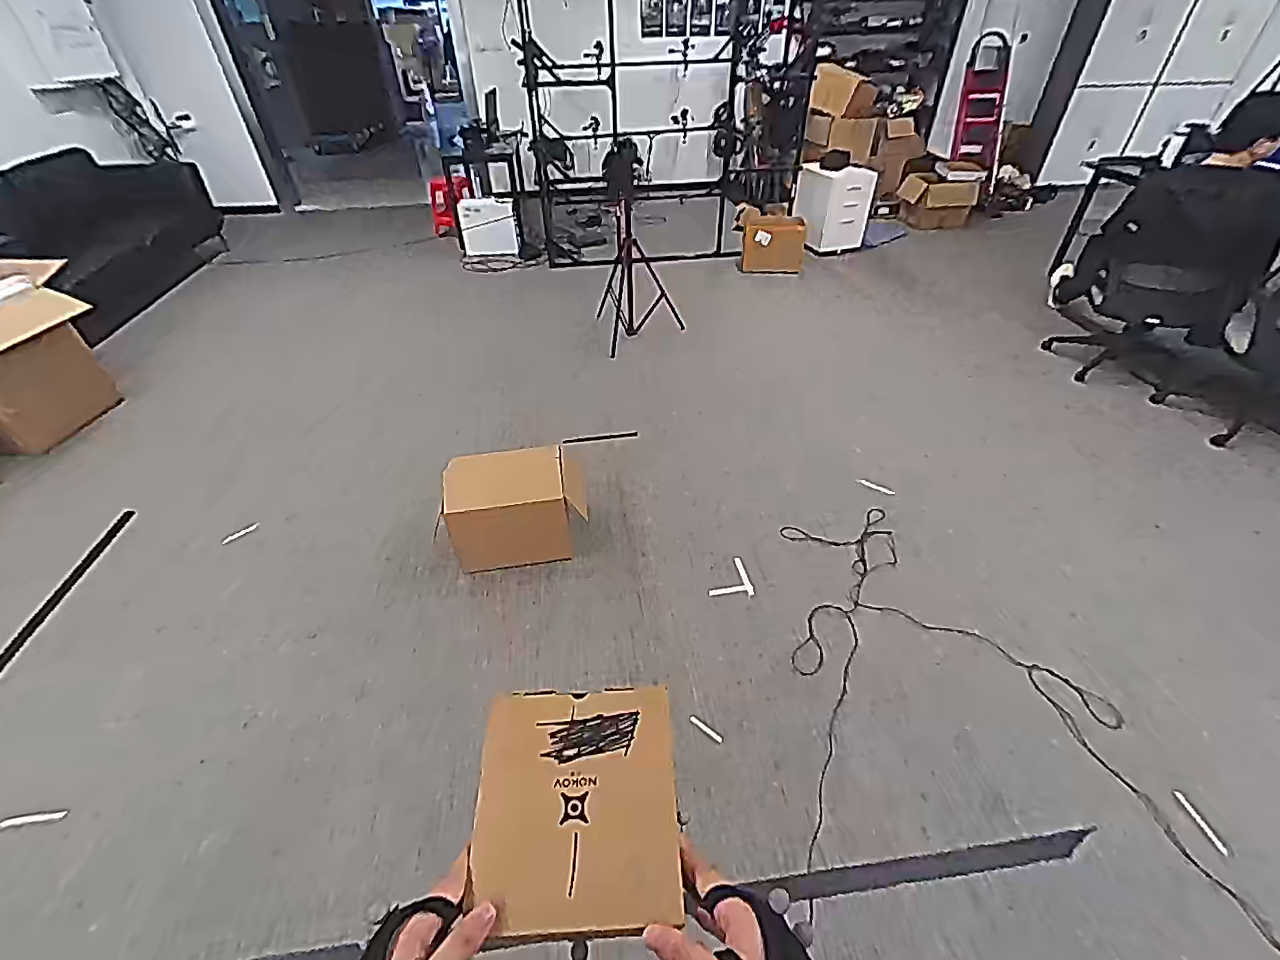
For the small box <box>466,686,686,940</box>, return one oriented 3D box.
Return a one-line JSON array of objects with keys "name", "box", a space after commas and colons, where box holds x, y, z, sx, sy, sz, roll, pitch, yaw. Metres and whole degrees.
[{"name": "small box", "box": [-0.050, 0.315, 0.511, 0.168, 0.176, 0.179, -3, 49, -1]}]
